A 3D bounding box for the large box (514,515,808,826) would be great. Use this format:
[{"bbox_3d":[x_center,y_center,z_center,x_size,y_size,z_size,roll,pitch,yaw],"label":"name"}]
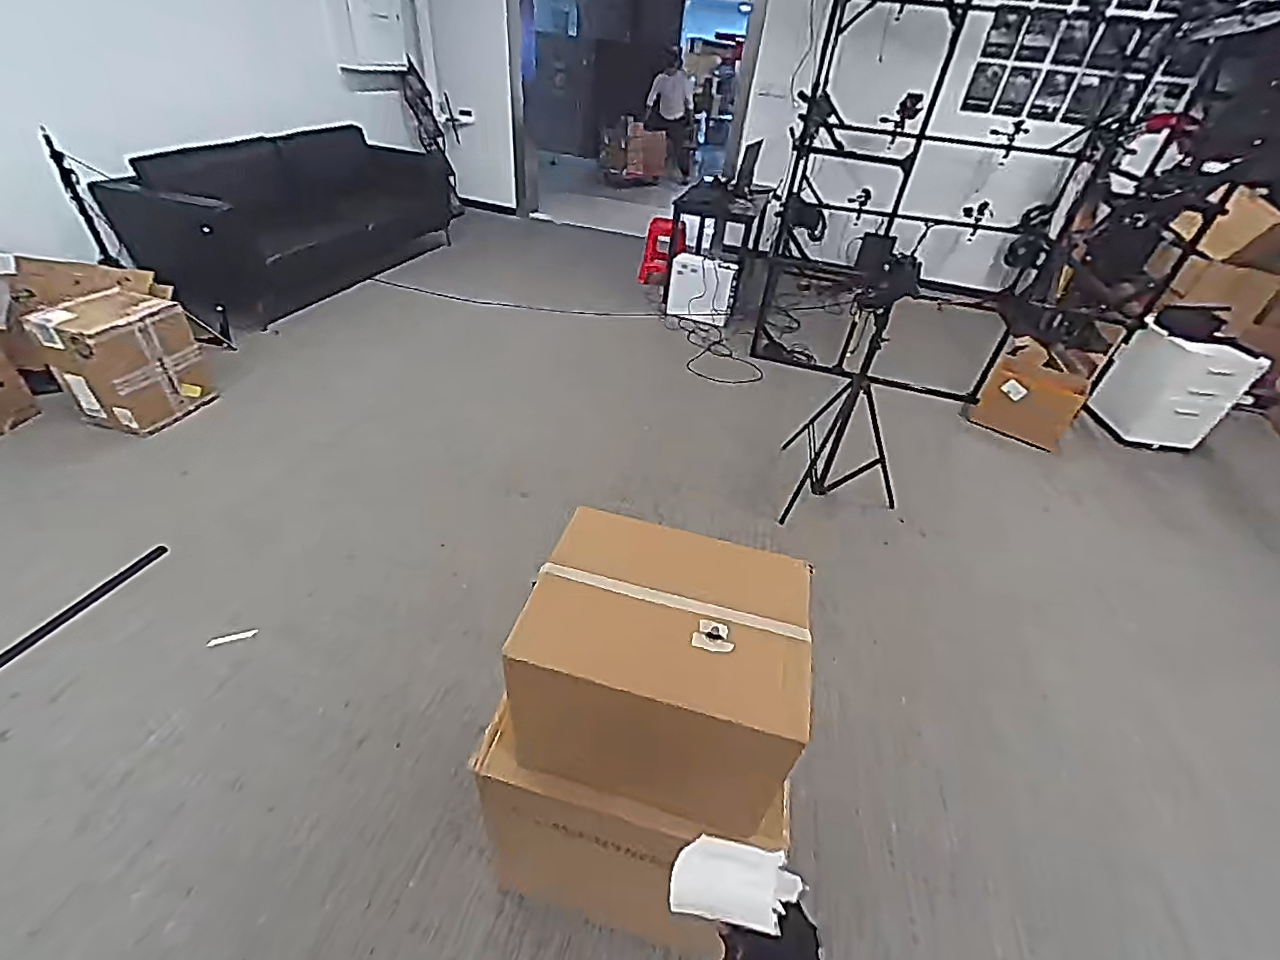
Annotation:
[{"bbox_3d":[0.036,0.307,0.908,0.408,0.320,0.320,13,39,7],"label":"large box"}]
